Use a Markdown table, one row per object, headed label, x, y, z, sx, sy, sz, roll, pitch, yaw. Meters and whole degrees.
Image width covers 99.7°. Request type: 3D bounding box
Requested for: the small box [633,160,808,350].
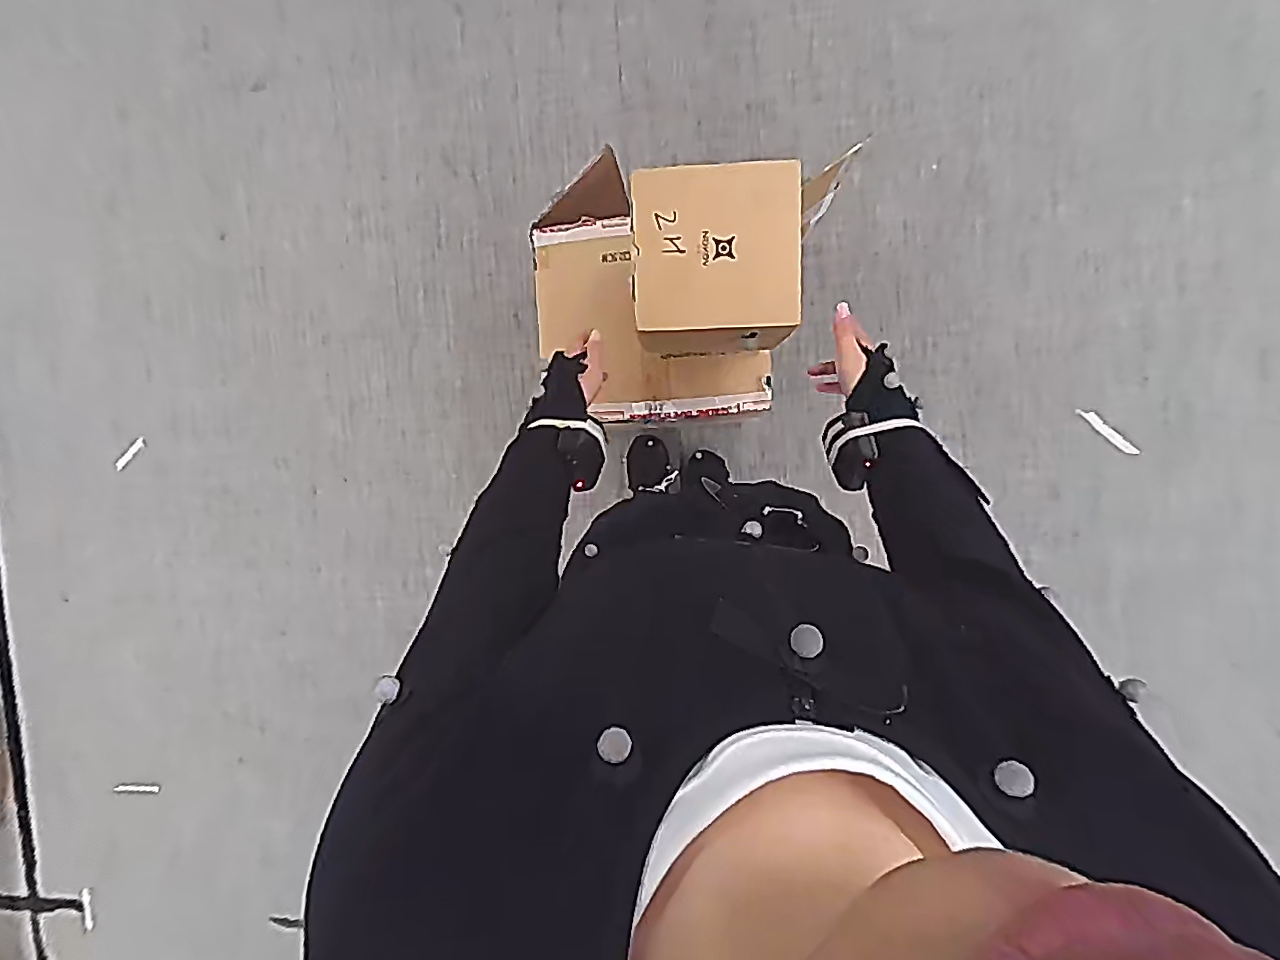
| label | x | y | z | sx | sy | sz | roll | pitch | yaw |
| --- | --- | --- | --- | --- | --- | --- | --- | --- | --- |
| small box | 0.086 | -0.248 | 0.631 | 0.179 | 0.176 | 0.168 | 1 | 95 | 5 |
